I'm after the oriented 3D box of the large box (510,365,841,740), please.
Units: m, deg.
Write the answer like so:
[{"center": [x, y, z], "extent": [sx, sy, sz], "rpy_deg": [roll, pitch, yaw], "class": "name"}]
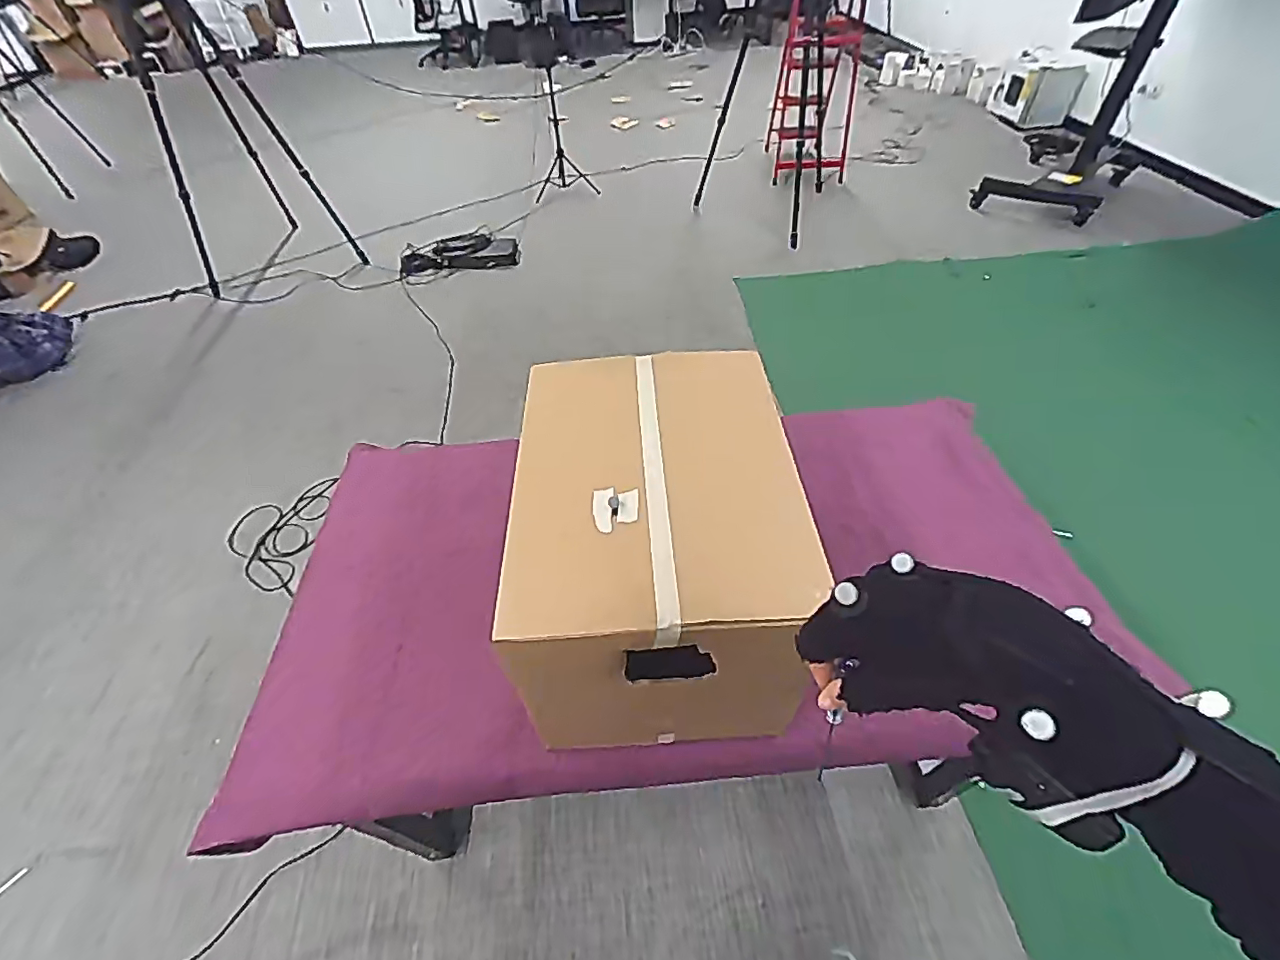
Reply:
[{"center": [0.025, 0.091, 0.733], "extent": [0.320, 0.320, 0.408], "rpy_deg": [-3, 49, 0], "class": "large box"}]
